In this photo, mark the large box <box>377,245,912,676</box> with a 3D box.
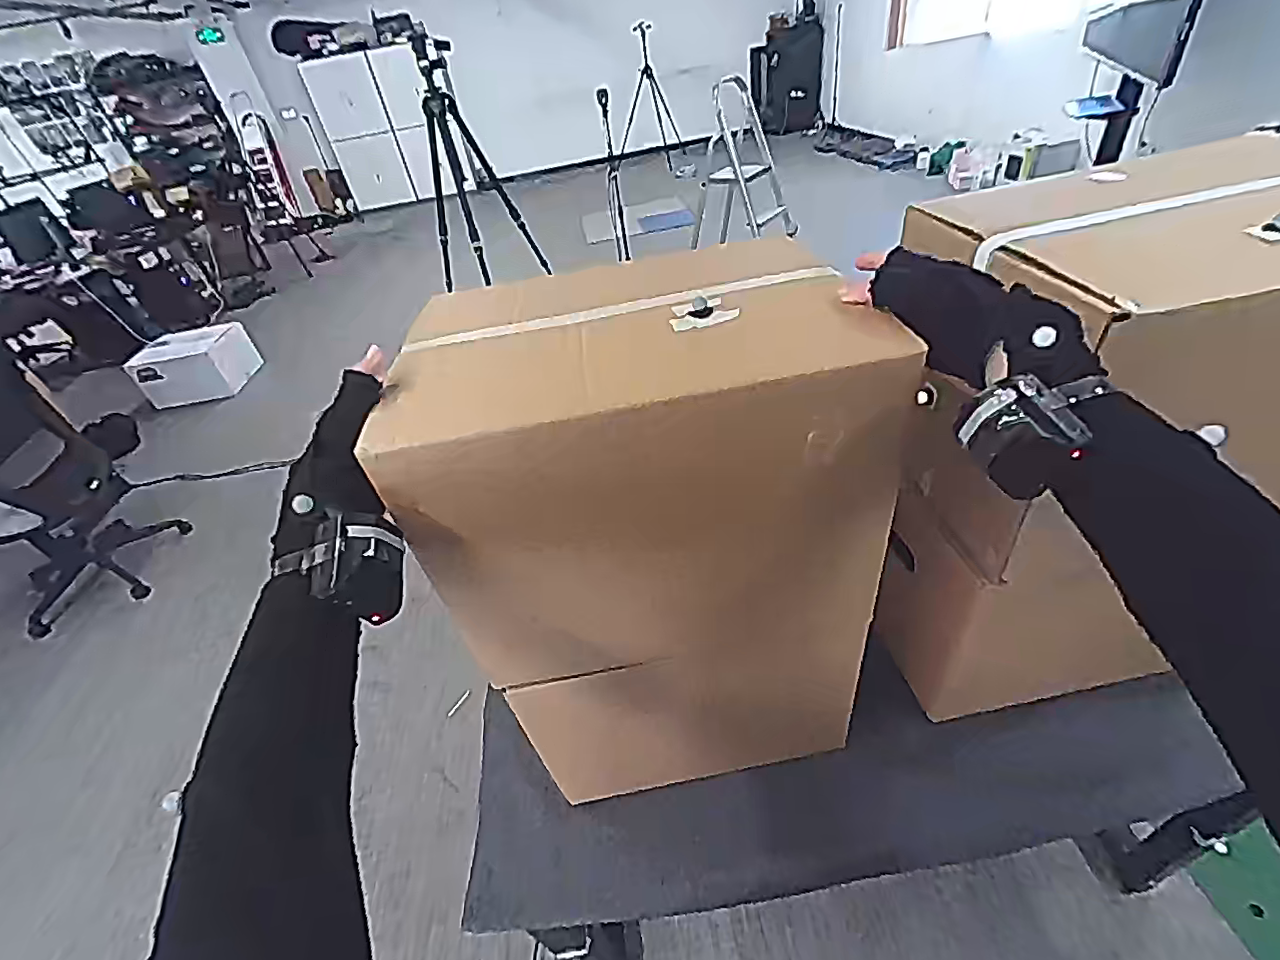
[{"bbox_3d":[0.003,-0.030,0.595,0.408,0.320,0.320,-9,40,-1],"label":"large box"}]
